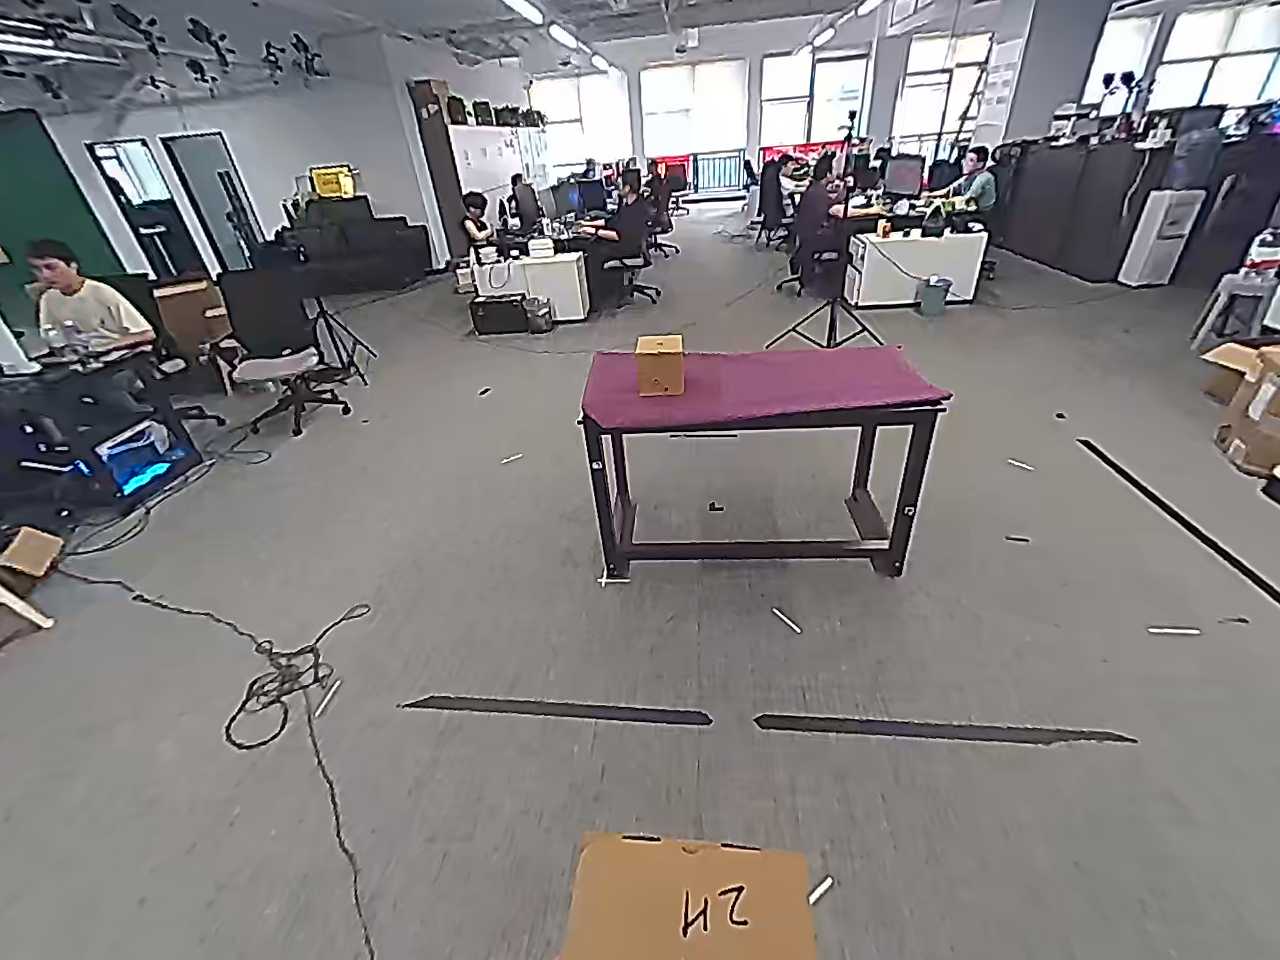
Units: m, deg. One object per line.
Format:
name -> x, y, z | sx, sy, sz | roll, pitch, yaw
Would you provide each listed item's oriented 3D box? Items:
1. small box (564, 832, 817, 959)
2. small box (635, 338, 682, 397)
small box -> 0.036, 0.383, 0.382 | 0.168, 0.176, 0.179 | 1, 39, 6
small box -> 0.072, -0.419, 2.014 | 0.168, 0.176, 0.179 | -2, 34, 4
